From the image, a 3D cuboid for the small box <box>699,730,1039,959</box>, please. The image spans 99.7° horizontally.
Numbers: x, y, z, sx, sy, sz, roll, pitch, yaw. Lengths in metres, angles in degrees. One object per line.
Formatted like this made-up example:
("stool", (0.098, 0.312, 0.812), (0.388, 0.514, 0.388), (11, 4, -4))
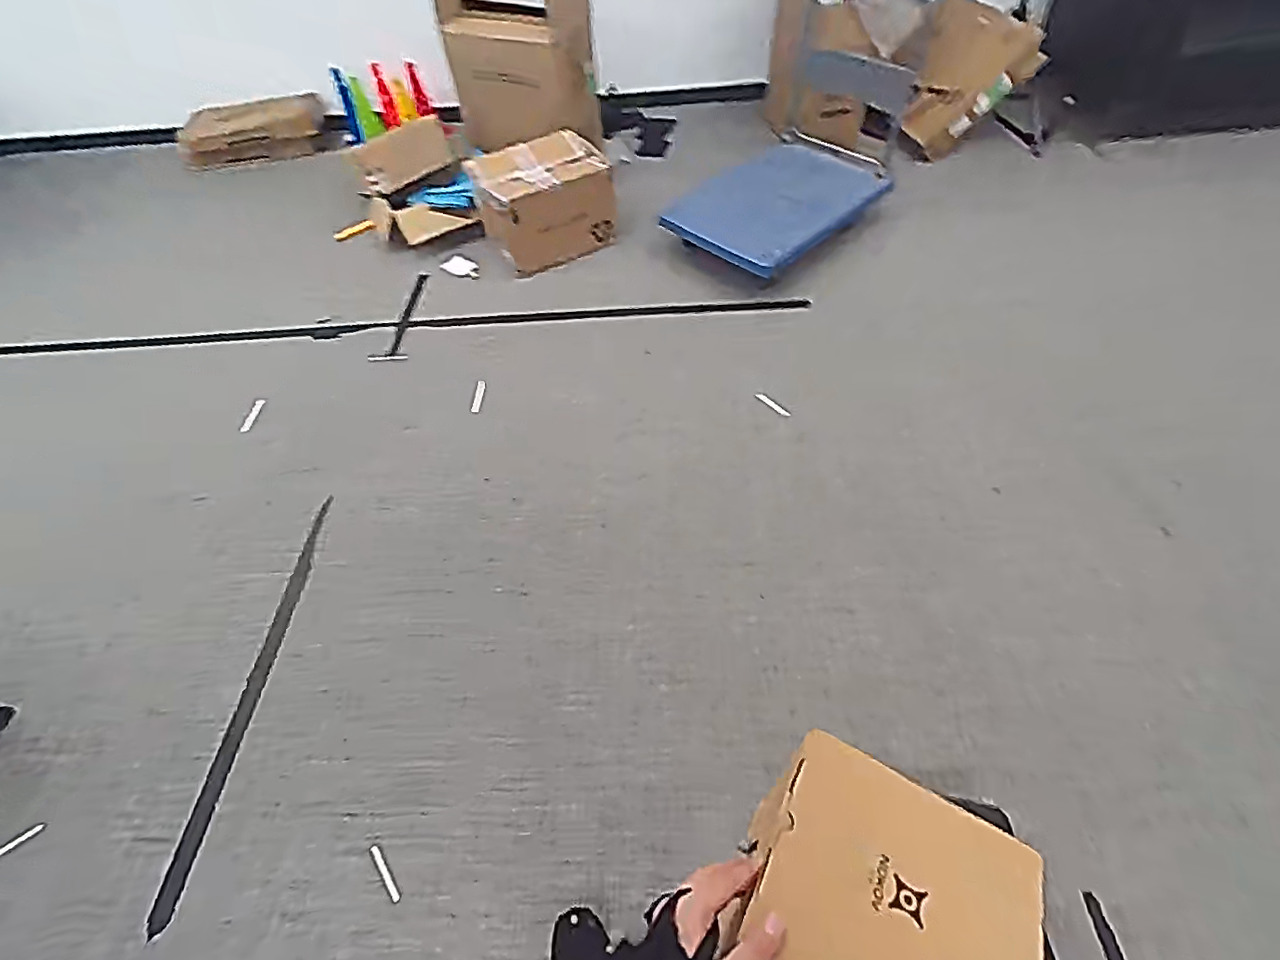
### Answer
("small box", (0.162, 0.338, 0.411), (0.179, 0.176, 0.168), (24, 42, 20))
